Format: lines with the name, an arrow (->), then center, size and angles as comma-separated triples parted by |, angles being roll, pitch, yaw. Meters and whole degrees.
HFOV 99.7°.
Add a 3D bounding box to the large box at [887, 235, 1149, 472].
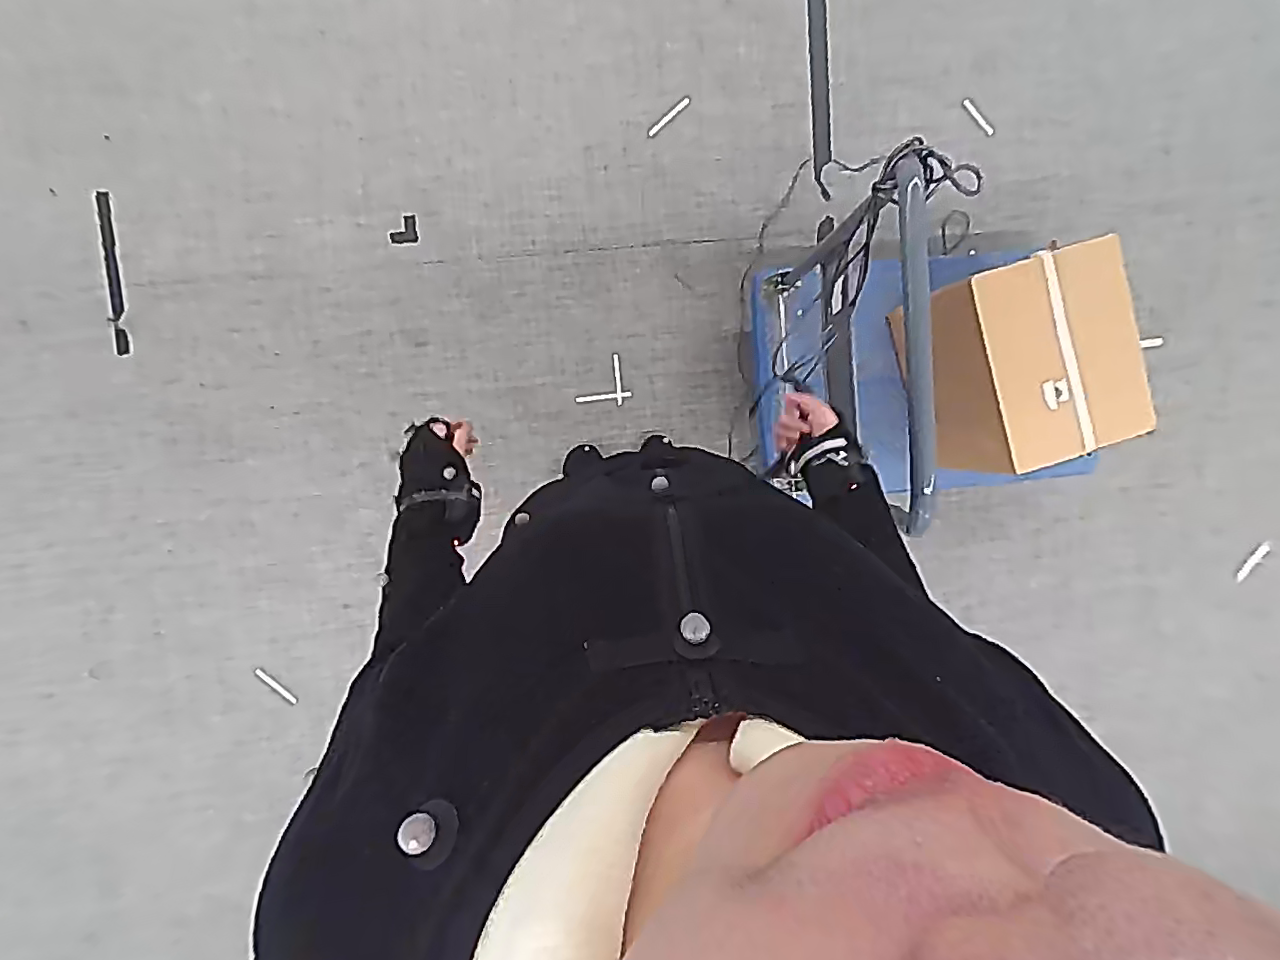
large box -> 0.816, -0.262, 1.212 | 0.320, 0.320, 0.408 | -17, 97, -2
